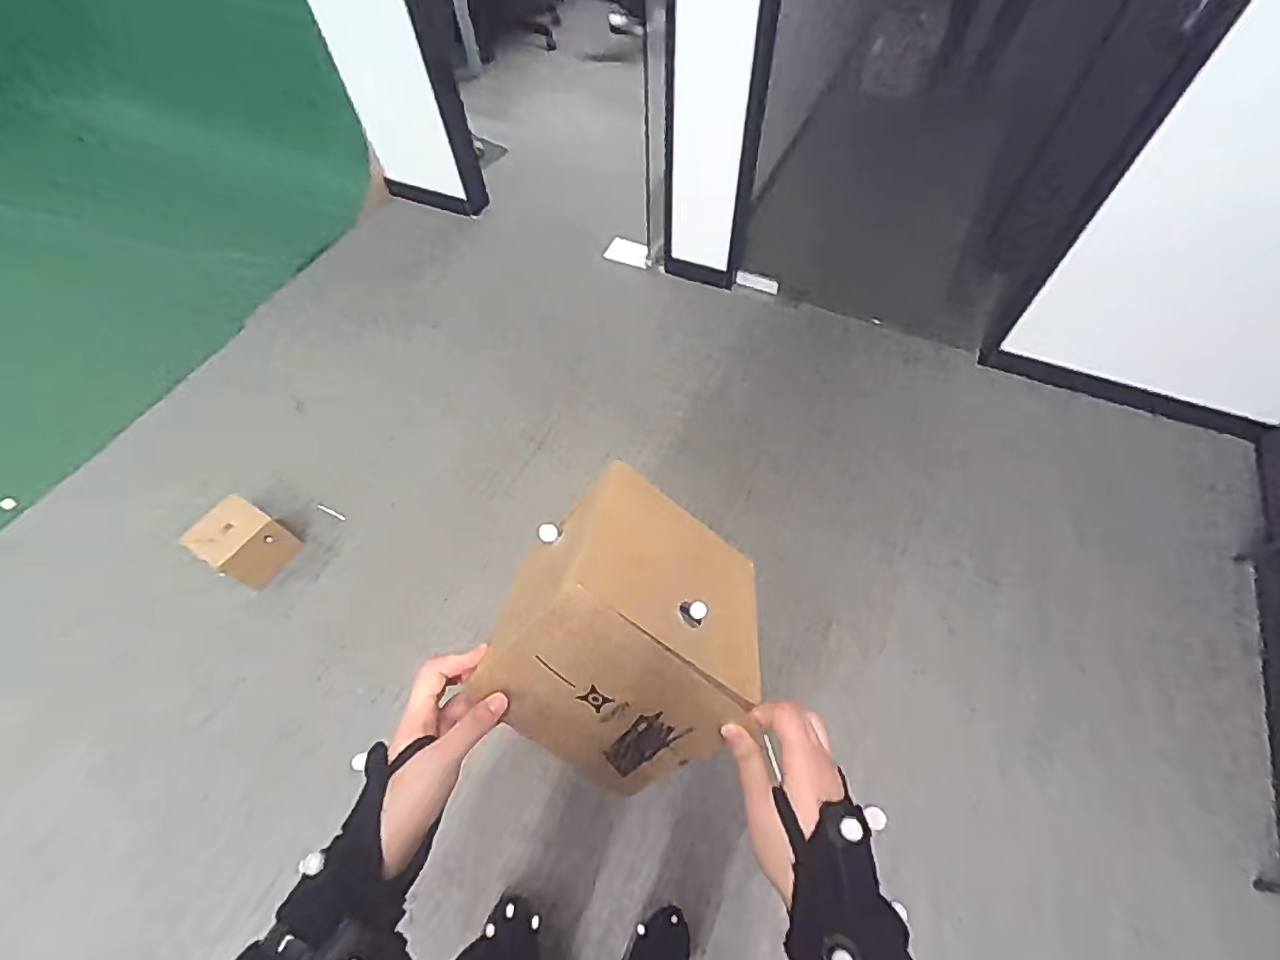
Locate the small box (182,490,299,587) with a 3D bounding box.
[{"bbox_3d":[-1.094,0.165,1.506,0.168,0.176,0.179,27,63,17],"label":"small box"}]

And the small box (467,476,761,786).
[{"bbox_3d":[-0.013,0.128,0.485,0.179,0.168,0.176,38,28,-13],"label":"small box"}]
